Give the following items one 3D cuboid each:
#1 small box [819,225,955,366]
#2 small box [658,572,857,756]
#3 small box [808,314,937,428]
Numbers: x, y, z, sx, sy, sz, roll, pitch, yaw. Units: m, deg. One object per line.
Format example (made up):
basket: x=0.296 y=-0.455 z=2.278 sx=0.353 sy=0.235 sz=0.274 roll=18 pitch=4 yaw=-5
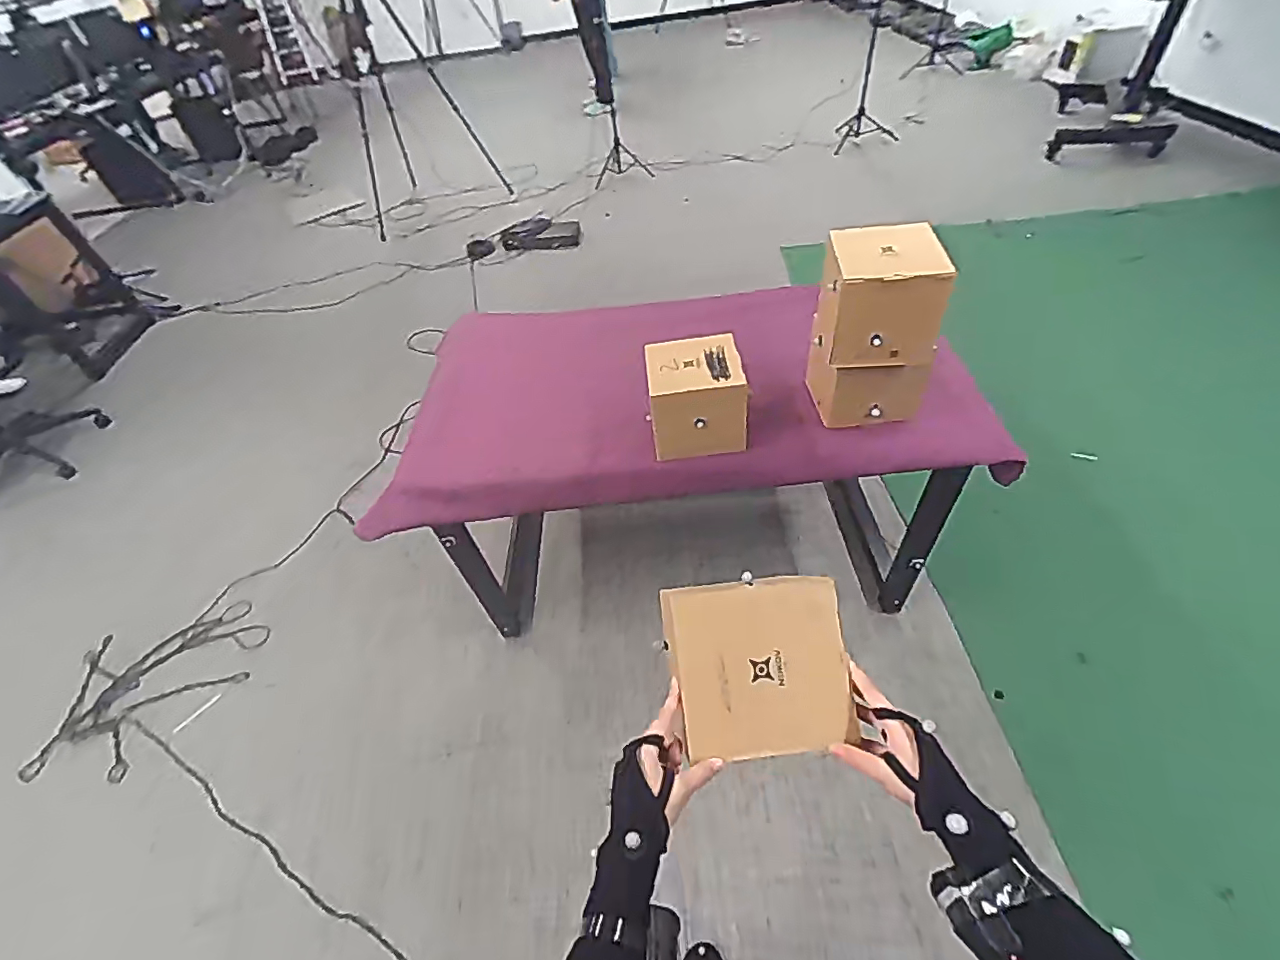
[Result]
small box: x=0.410 y=-0.317 z=0.936 sx=0.168 sy=0.176 sz=0.179 roll=-1 pitch=48 yaw=9
small box: x=0.118 y=0.195 z=0.619 sx=0.179 sy=0.176 sz=0.168 roll=-5 pitch=80 yaw=-2
small box: x=0.444 y=-0.222 z=1.067 sx=0.179 sy=0.176 sz=0.168 roll=-6 pitch=46 yaw=4
